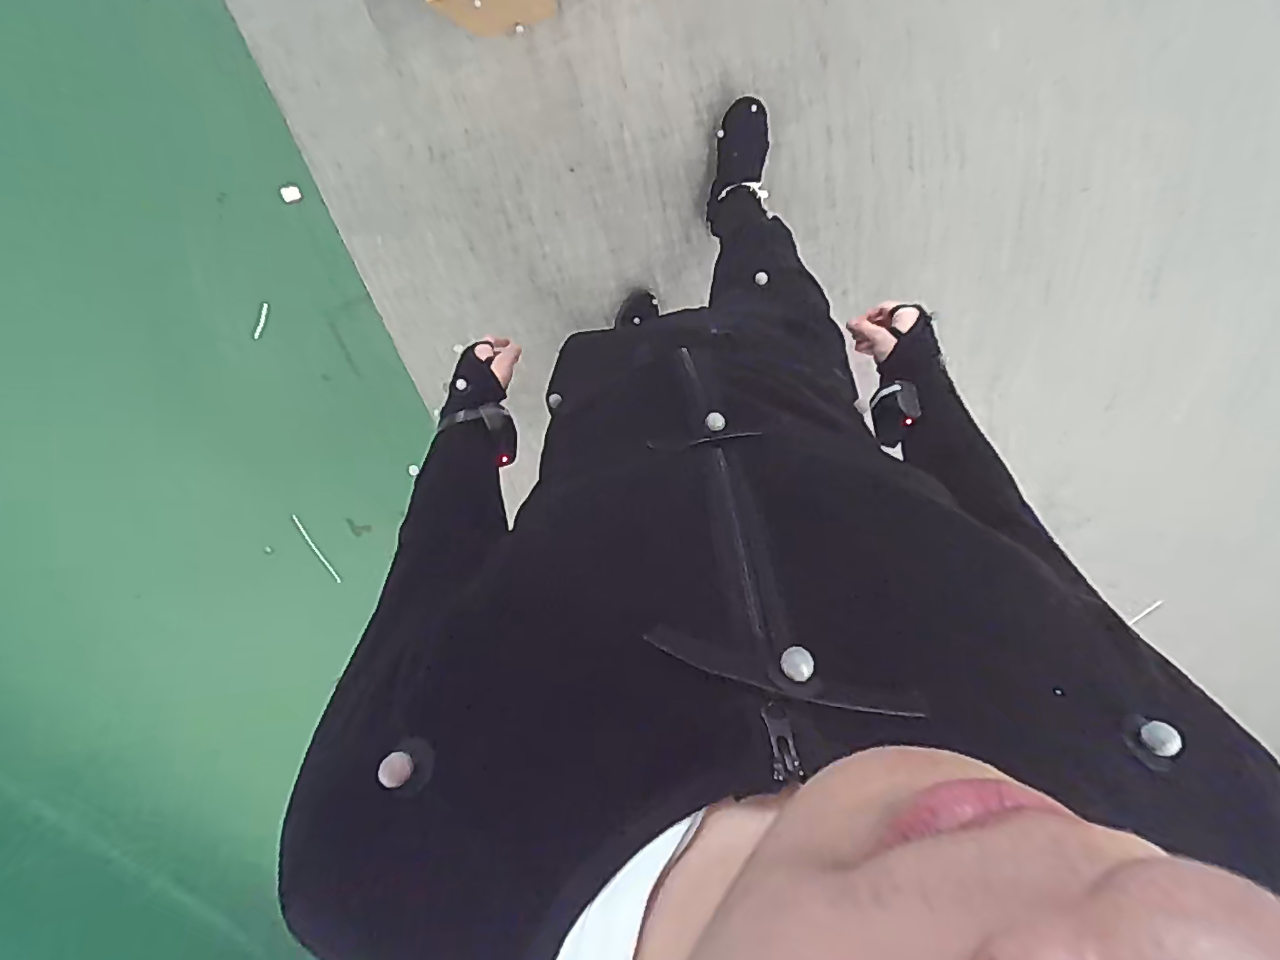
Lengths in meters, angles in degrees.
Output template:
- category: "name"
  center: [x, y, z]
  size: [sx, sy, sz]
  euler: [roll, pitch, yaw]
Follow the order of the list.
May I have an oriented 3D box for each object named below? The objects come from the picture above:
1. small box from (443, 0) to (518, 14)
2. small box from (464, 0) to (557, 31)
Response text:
- category: "small box"
  center: [-0.283, -0.928, 0.918]
  size: [0.179, 0.176, 0.168]
  euler: [-9, 121, 8]
- category: "small box"
  center: [-0.269, -1.015, 1.058]
  size: [0.179, 0.176, 0.168]
  euler: [-10, 120, 8]
